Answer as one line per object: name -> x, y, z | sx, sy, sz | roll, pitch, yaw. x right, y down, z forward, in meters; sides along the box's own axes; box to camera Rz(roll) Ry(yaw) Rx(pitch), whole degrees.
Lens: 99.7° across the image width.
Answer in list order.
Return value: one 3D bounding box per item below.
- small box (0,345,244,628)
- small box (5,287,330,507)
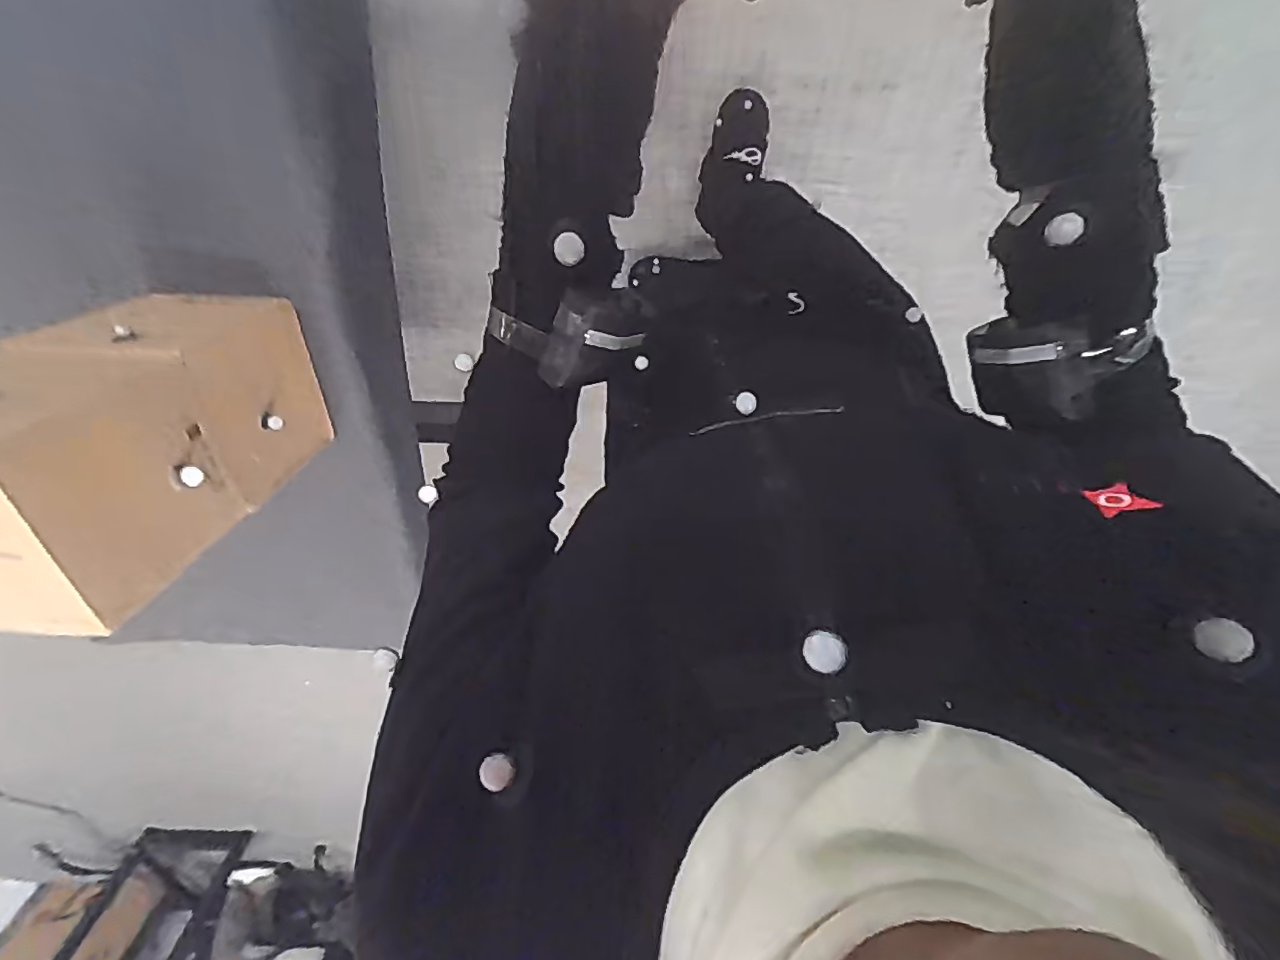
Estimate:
small box -> -0.487, -0.004, 0.445 | 0.179, 0.176, 0.168 | 3, 123, 1
small box -> -0.472, -0.093, 0.583 | 0.168, 0.176, 0.179 | 3, 124, 2
